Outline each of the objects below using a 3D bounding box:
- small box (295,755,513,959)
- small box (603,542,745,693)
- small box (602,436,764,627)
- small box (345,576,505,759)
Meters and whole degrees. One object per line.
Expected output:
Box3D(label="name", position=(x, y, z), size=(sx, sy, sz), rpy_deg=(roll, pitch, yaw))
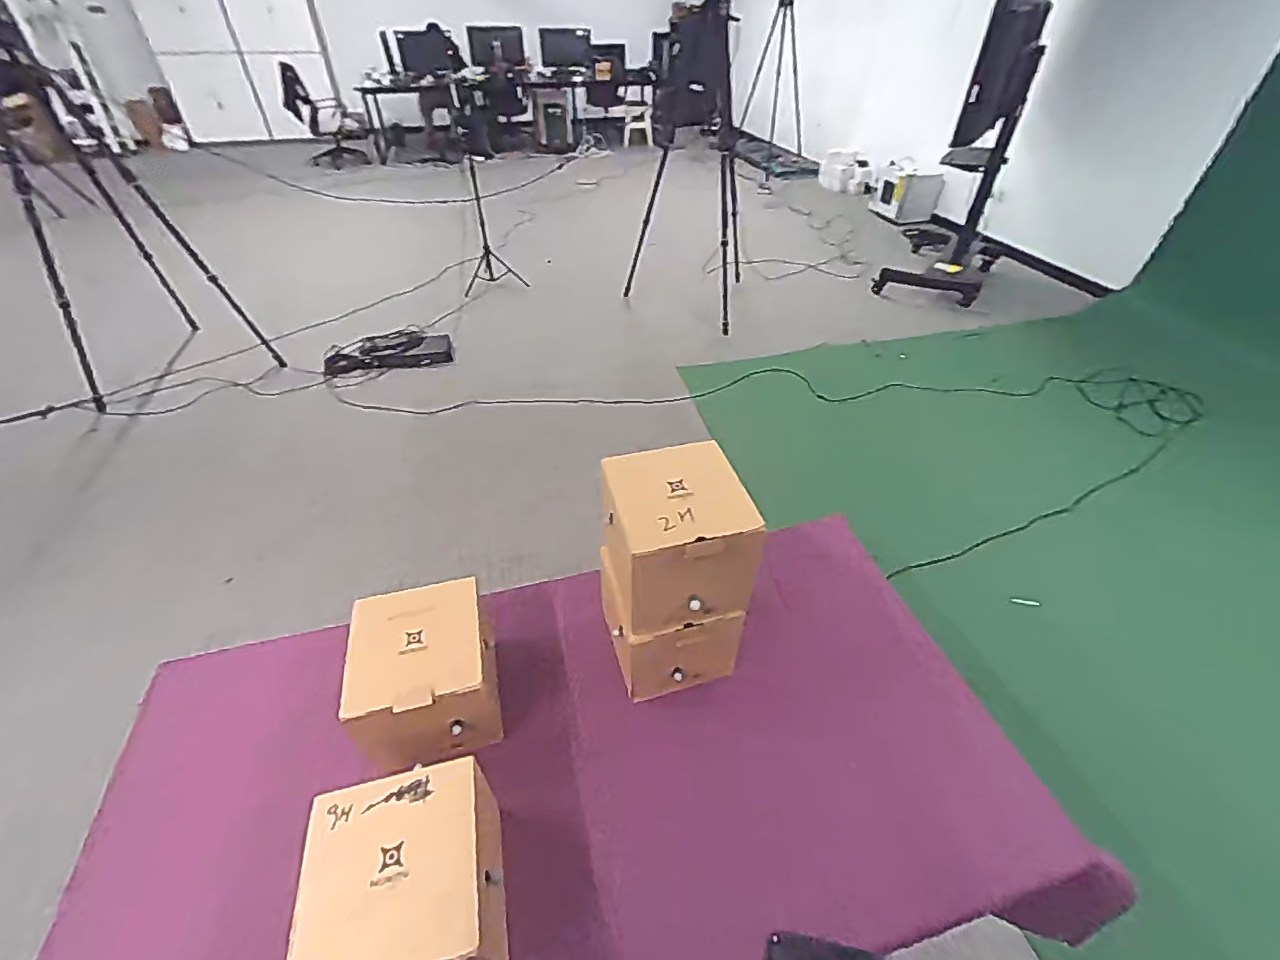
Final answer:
Box3D(label="small box", position=(-0.236, 0.433, 0.579), size=(0.168, 0.176, 0.179), rpy_deg=(-10, 44, -11))
Box3D(label="small box", position=(0.043, 0.195, 0.838), size=(0.168, 0.176, 0.179), rpy_deg=(-13, 44, -13))
Box3D(label="small box", position=(0.046, 0.068, 0.733), size=(0.168, 0.176, 0.179), rpy_deg=(-11, 44, -11))
Box3D(label="small box", position=(-0.291, 0.268, 0.762), size=(0.168, 0.176, 0.179), rpy_deg=(-10, 43, -12))
